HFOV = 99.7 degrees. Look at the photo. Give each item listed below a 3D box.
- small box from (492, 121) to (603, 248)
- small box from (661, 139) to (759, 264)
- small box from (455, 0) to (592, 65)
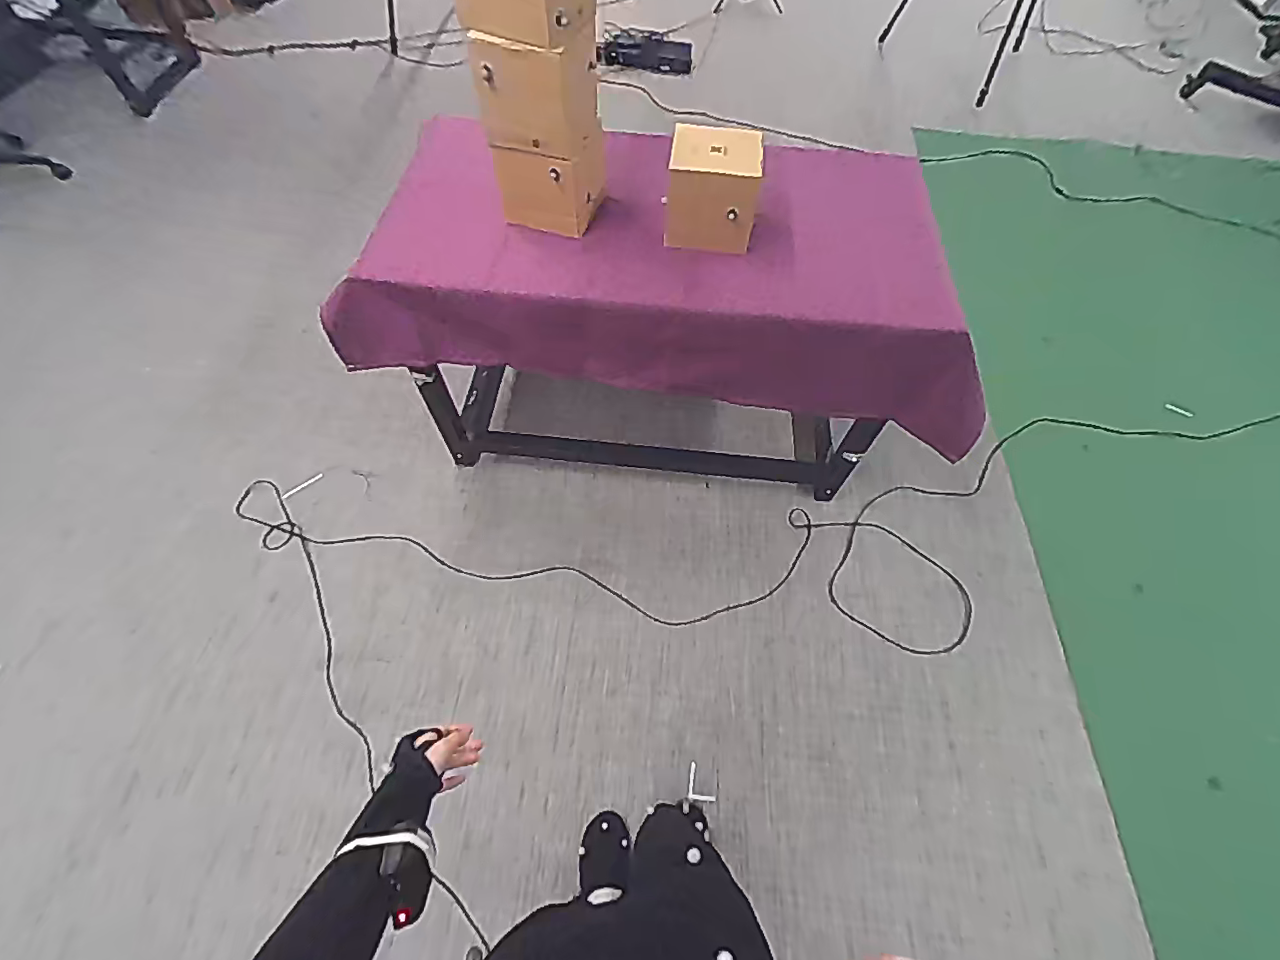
[{"bbox_3d":[-0.187,-0.621,1.146,0.179,0.176,0.168,15,59,6],"label":"small box"},{"bbox_3d":[0.143,-0.576,1.131,0.179,0.176,0.168,7,58,3],"label":"small box"},{"bbox_3d":[-0.186,-0.808,0.875,0.179,0.176,0.168,21,59,11],"label":"small box"}]
